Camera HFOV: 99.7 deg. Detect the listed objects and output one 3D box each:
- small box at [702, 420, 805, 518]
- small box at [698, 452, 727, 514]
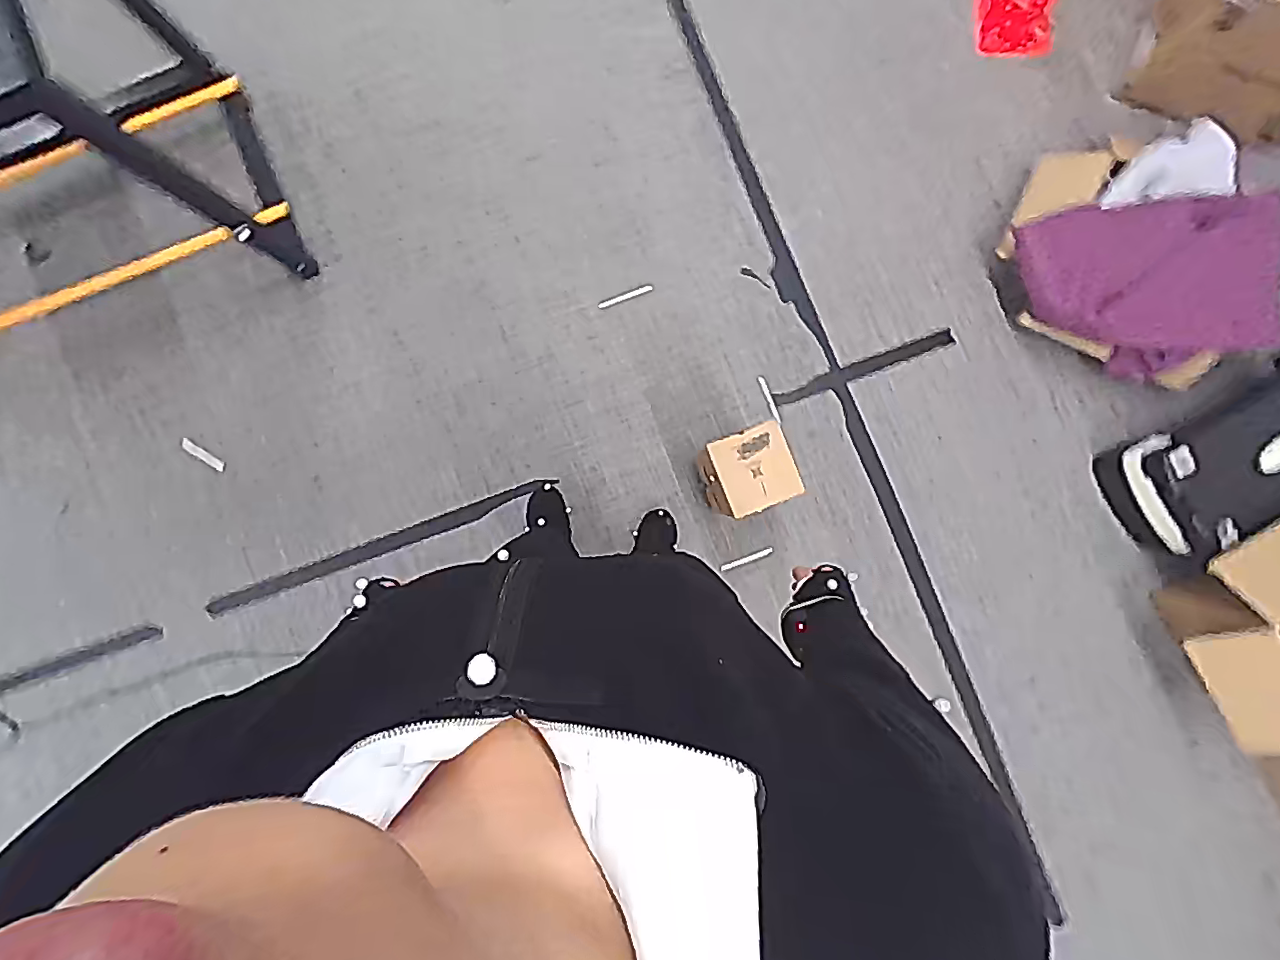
[{"bbox_3d":[0.252,-0.022,1.248,0.168,0.176,0.179,-21,90,1],"label":"small box"},{"bbox_3d":[0.256,-0.016,1.413,0.179,0.176,0.168,-19,89,1],"label":"small box"}]
